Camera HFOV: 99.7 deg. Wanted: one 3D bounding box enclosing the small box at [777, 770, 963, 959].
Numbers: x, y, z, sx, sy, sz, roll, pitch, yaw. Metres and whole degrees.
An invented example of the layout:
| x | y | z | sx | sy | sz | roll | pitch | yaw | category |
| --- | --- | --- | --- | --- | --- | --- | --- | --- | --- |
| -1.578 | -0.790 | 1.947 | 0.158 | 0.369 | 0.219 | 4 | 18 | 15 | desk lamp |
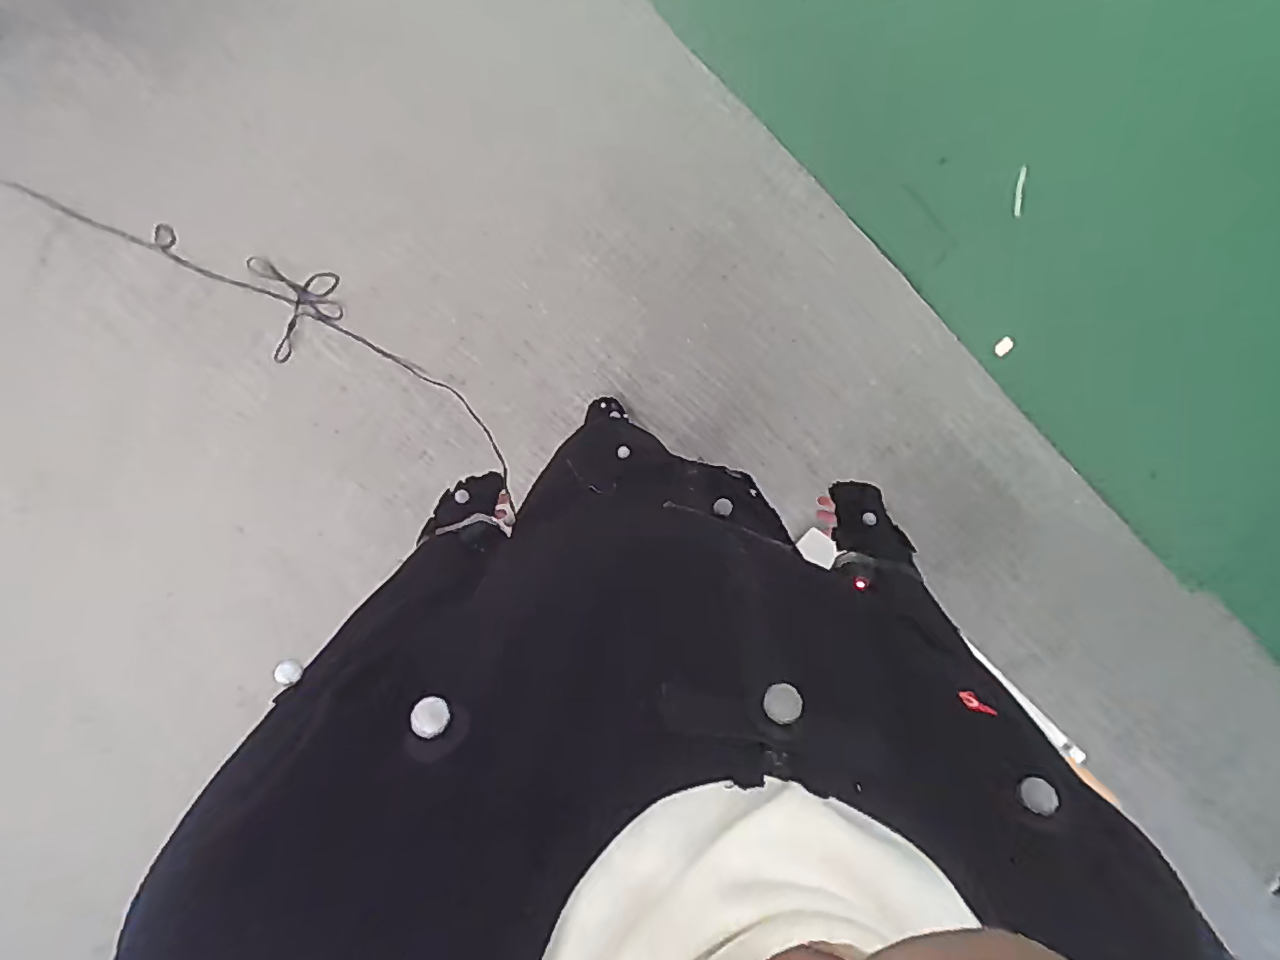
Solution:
| x | y | z | sx | sy | sz | roll | pitch | yaw | category |
| --- | --- | --- | --- | --- | --- | --- | --- | --- | --- |
| 0.350 | 0.609 | 0.856 | 0.179 | 0.176 | 0.168 | 42 | 96 | -8 | small box |
